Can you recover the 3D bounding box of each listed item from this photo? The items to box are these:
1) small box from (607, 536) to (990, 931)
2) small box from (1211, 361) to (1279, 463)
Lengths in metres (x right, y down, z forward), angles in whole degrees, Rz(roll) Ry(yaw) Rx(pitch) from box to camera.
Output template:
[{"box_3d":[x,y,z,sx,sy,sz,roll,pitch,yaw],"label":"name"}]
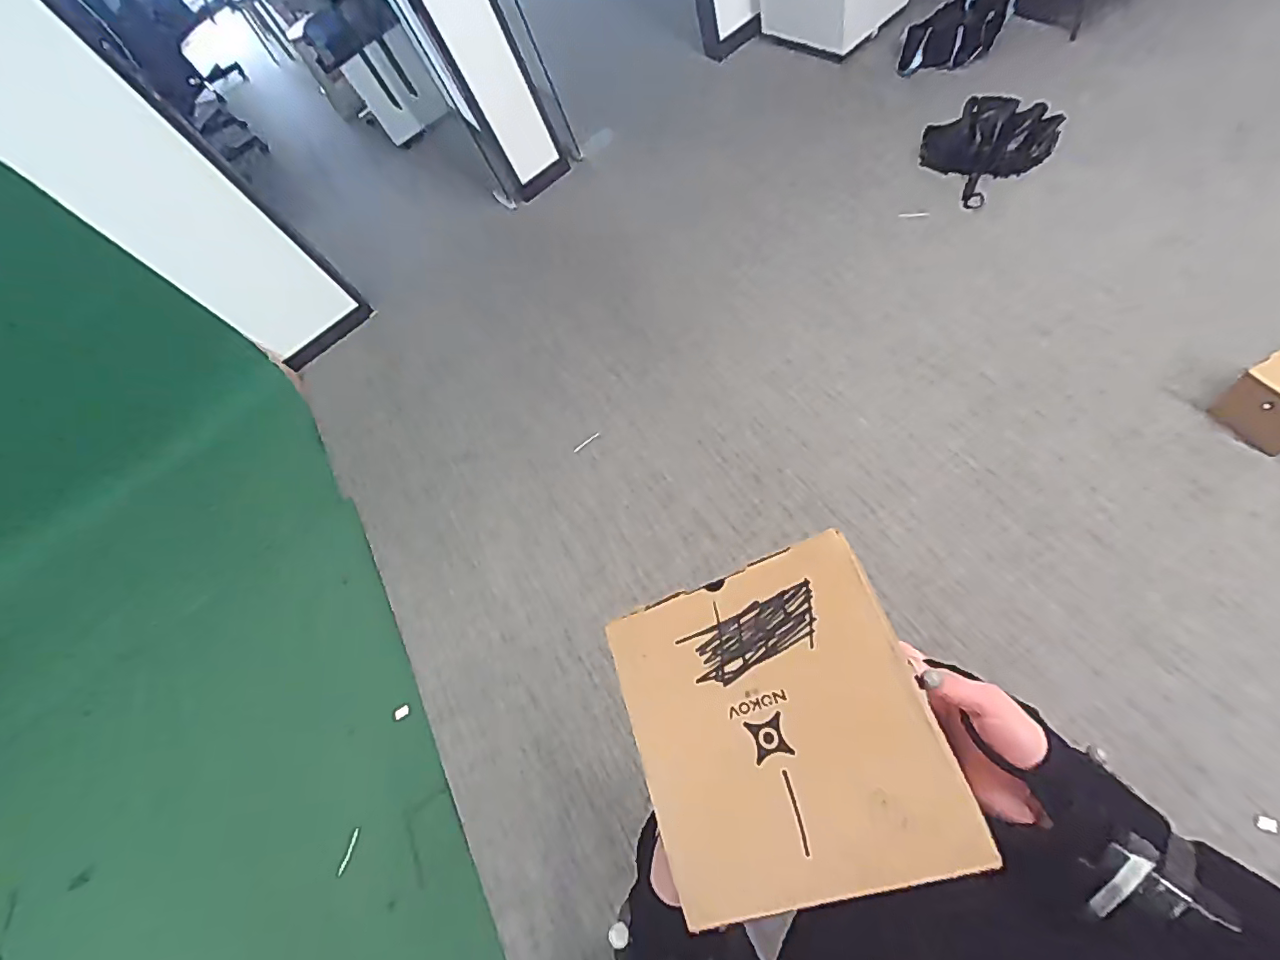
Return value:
[{"box_3d":[0.103,0.162,0.376,0.168,0.176,0.179,-27,64,18],"label":"small box"},{"box_3d":[1.512,-0.170,1.253,0.168,0.176,0.179,-30,59,4],"label":"small box"}]
